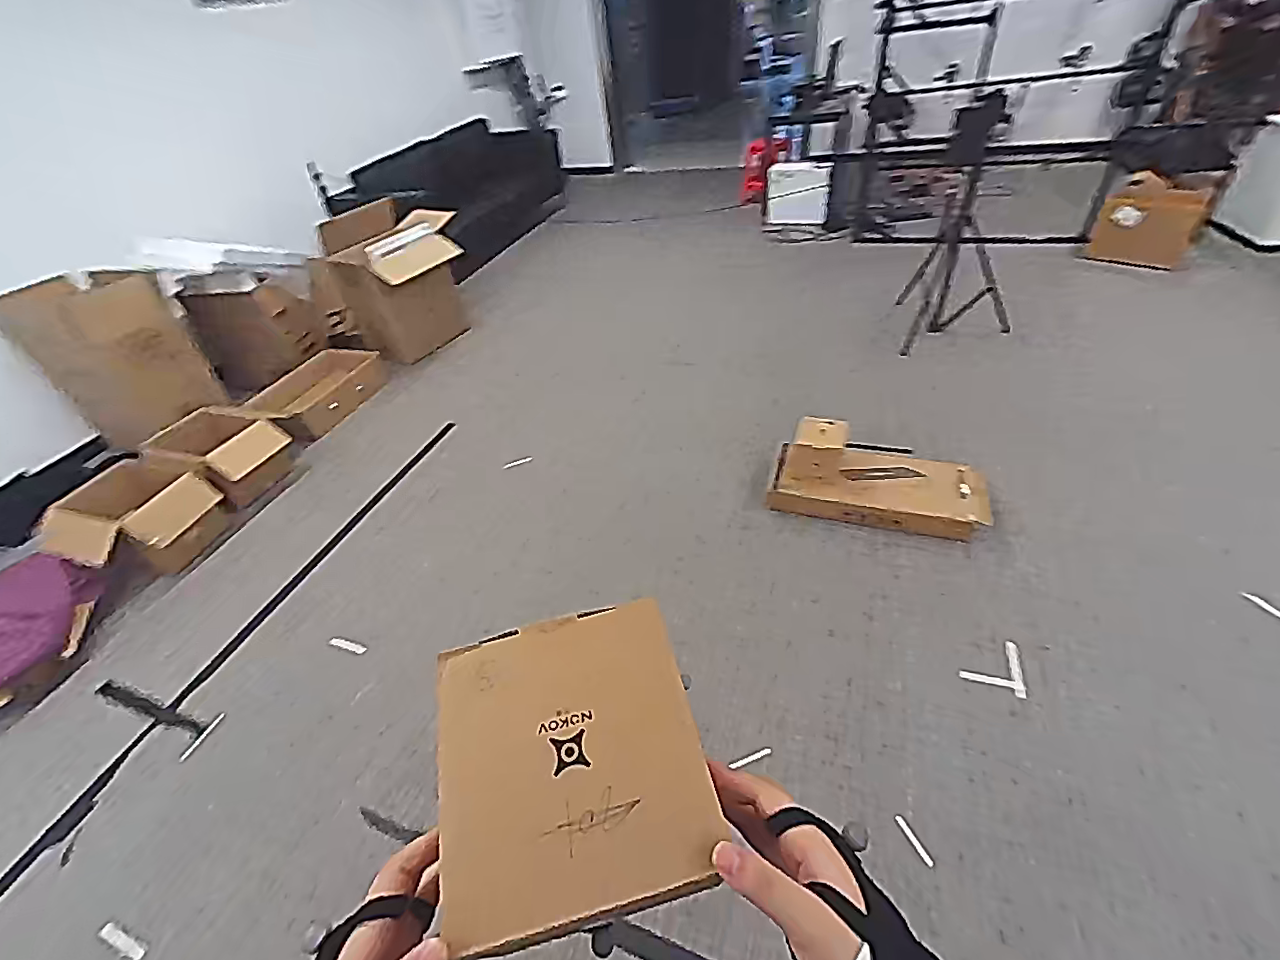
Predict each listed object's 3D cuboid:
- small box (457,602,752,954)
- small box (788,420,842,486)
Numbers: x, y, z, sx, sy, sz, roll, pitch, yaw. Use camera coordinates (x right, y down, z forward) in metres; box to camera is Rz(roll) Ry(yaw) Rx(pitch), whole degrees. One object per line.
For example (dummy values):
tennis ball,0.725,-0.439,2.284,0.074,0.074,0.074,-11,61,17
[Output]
small box,-0.031,0.223,0.408,0.168,0.176,0.179,-12,51,-7
small box,0.655,-0.099,2.031,0.168,0.176,0.179,10,45,19
